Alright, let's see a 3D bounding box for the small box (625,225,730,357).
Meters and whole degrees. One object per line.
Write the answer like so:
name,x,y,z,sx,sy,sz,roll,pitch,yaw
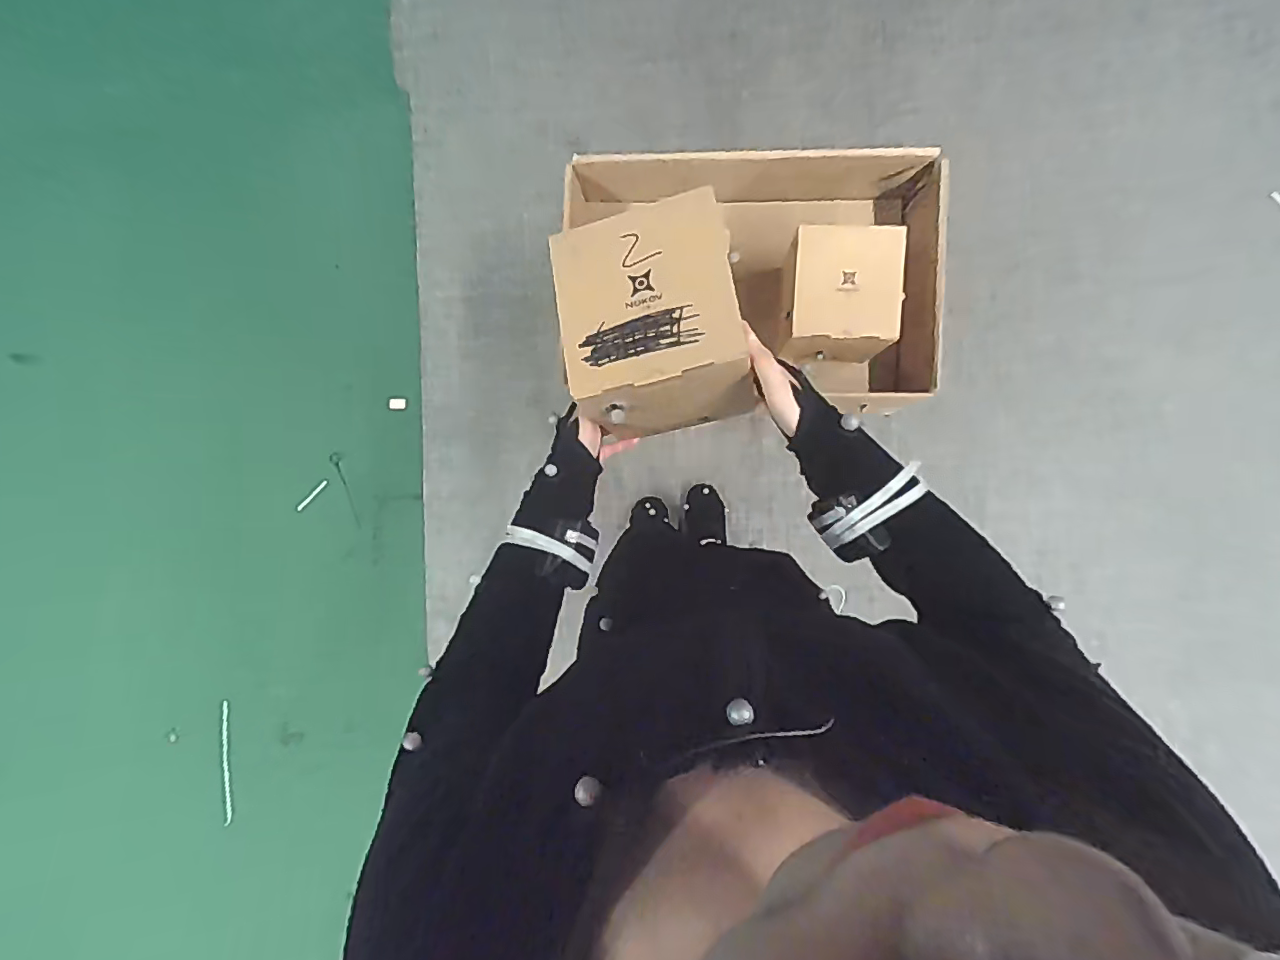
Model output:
small box,0.064,-0.318,0.938,0.168,0.176,0.179,1,92,5
